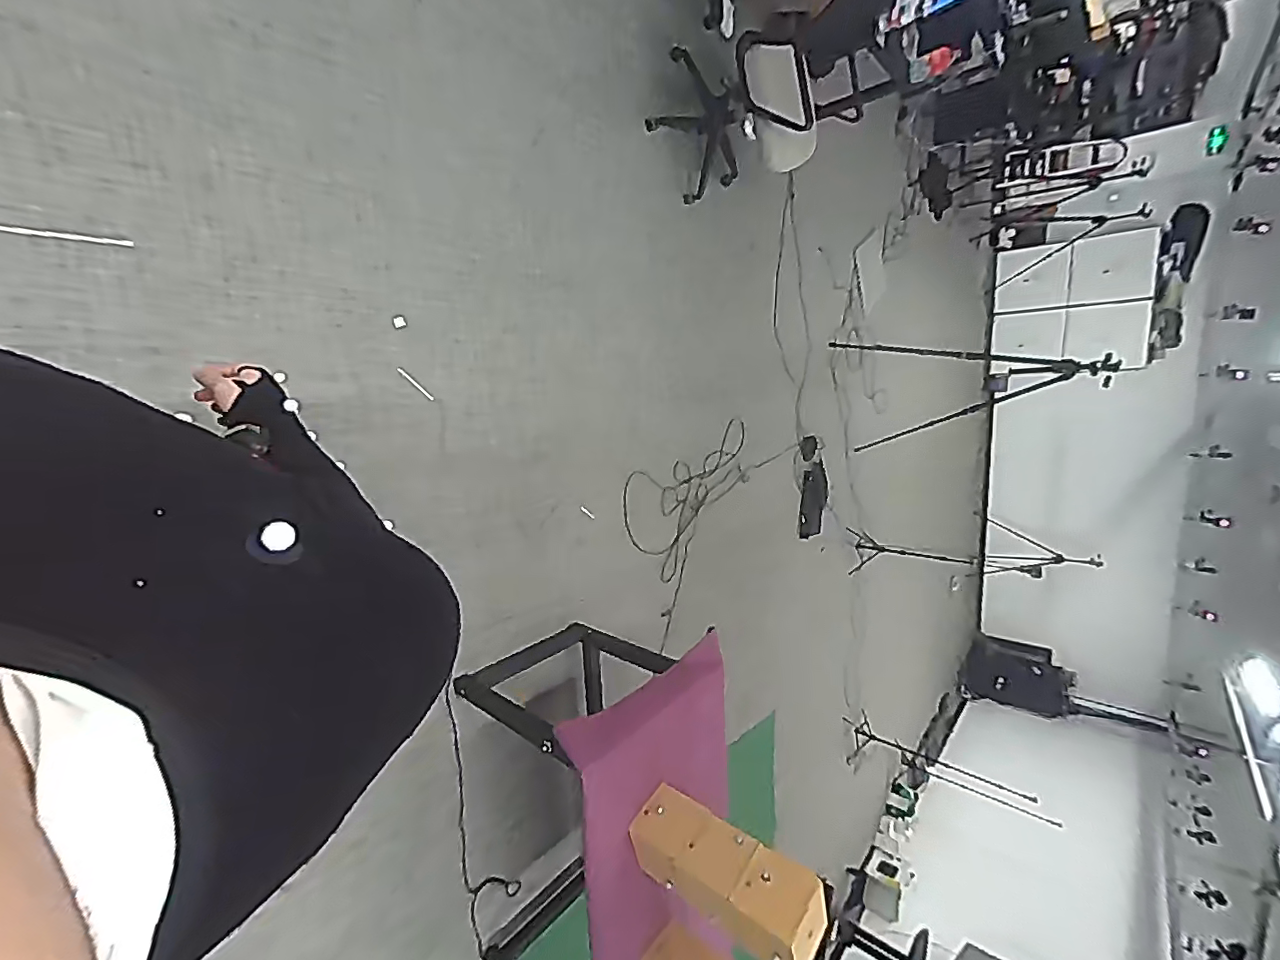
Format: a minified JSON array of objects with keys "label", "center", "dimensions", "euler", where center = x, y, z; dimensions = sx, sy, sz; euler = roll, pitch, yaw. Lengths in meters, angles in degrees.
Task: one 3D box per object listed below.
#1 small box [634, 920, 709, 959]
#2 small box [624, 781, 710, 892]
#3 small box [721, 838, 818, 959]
[{"label":"small box","center":[0.093,1.483,1.628],"dimensions":[0.168,0.176,0.179],"euler":[-11,102,-49]},{"label":"small box","center":[0.077,1.013,1.554],"dimensions":[0.168,0.176,0.179],"euler":[-32,118,-44]},{"label":"small box","center":[0.321,1.043,1.339],"dimensions":[0.168,0.176,0.179],"euler":[-33,119,-42]}]
